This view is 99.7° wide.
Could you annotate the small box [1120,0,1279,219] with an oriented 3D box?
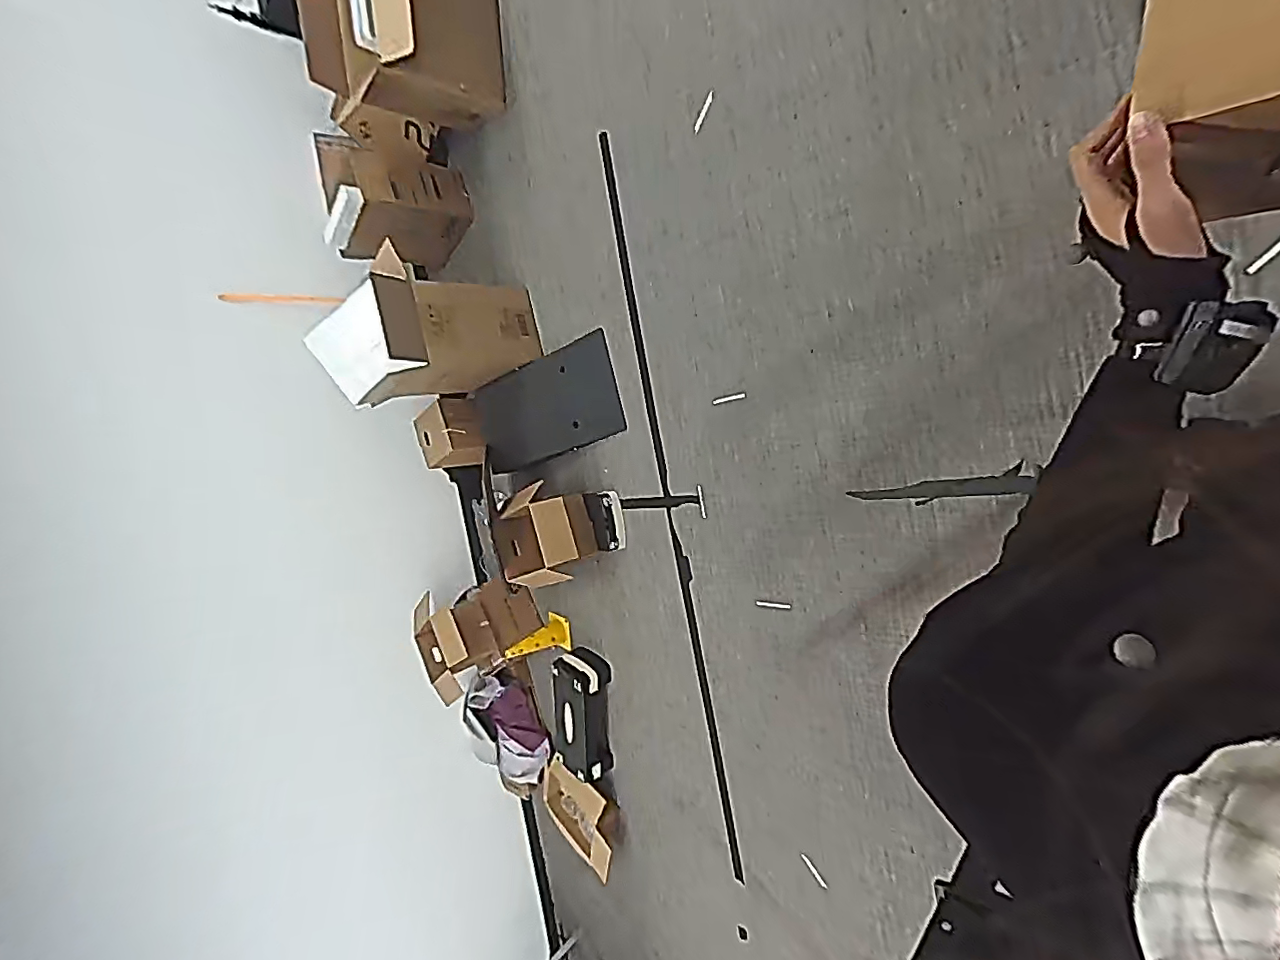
[{"bbox_3d":[0.460,-0.304,0.372,0.168,0.176,0.179,10,91,45],"label":"small box"}]
